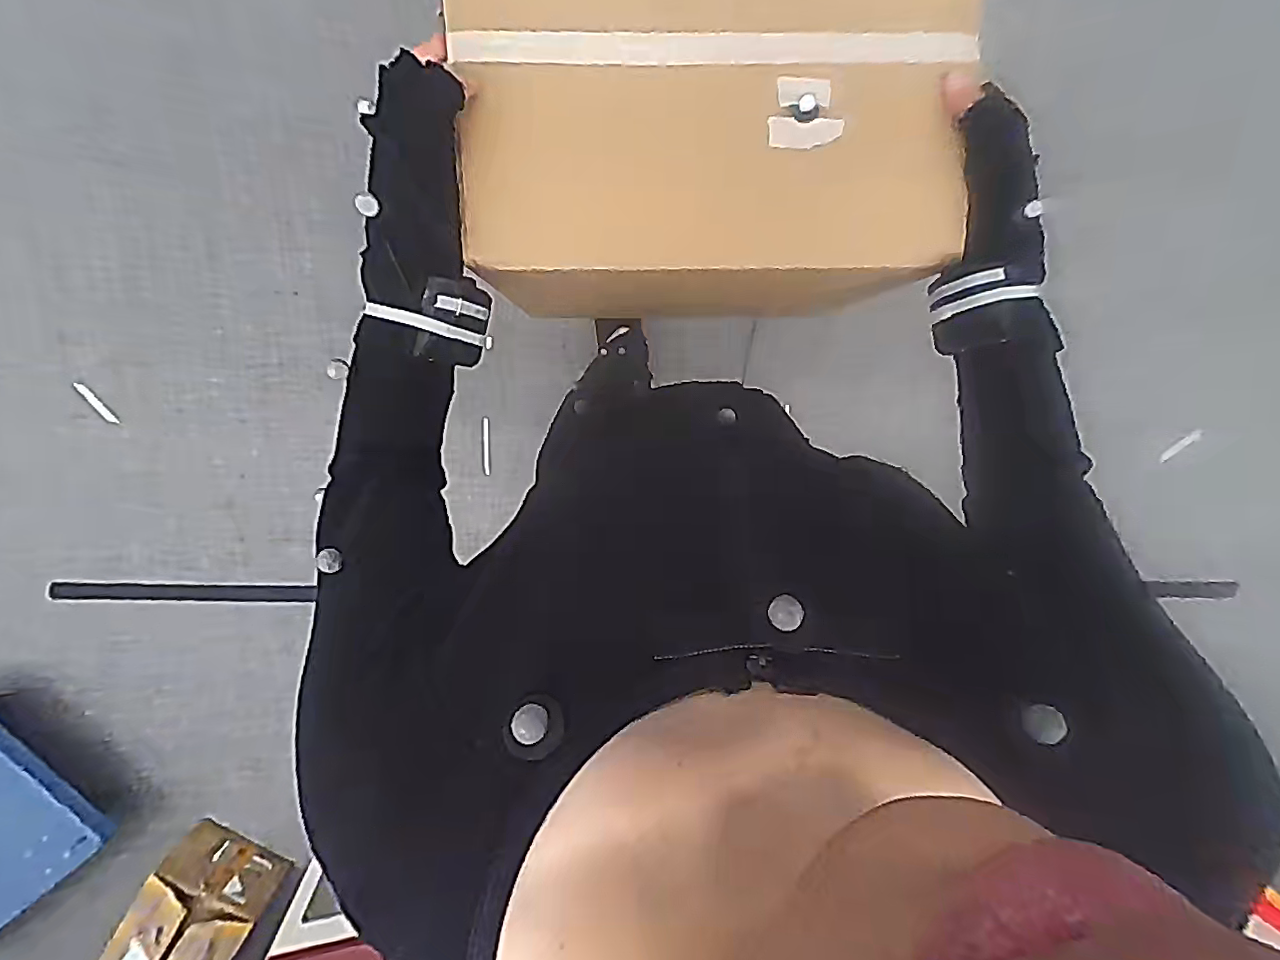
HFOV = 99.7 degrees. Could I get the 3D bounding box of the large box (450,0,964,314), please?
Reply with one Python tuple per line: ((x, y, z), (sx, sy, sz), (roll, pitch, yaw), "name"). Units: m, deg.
((0.048, -0.360, 0.567), (0.408, 0.320, 0.320), (-1, 100, -2), "large box")
